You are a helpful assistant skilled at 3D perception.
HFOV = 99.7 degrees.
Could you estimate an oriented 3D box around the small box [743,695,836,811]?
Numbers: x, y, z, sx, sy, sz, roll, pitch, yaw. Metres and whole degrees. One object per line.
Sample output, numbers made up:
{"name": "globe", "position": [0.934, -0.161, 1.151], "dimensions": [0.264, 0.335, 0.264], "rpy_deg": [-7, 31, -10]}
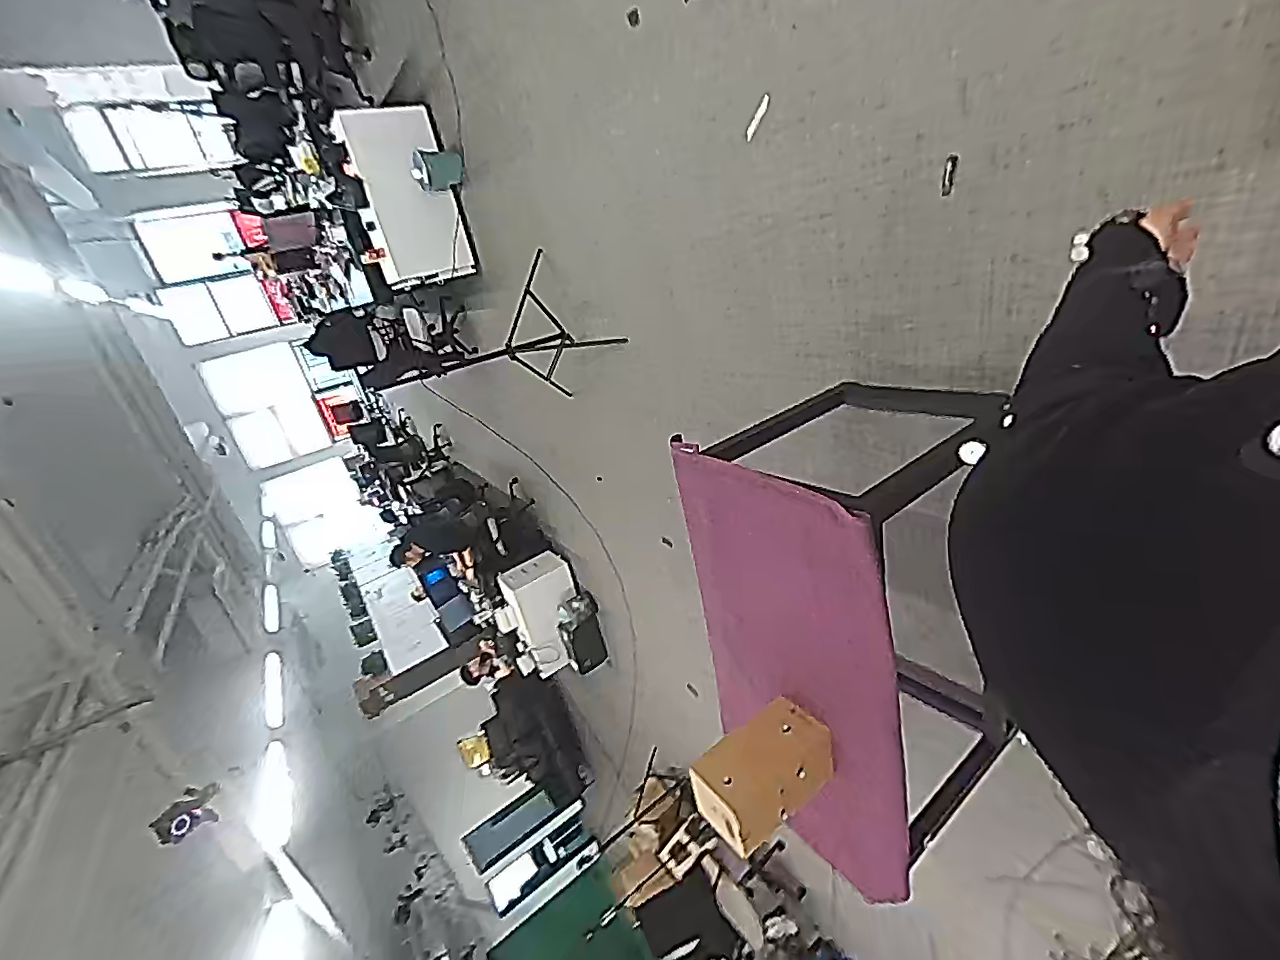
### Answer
{"name": "small box", "position": [0.399, 0.713, 1.434], "dimensions": [0.168, 0.176, 0.179], "rpy_deg": [23, 132, 53]}

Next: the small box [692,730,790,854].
{"name": "small box", "position": [0.263, 0.775, 1.366], "dimensions": [0.179, 0.176, 0.168], "rpy_deg": [21, 130, 54]}
